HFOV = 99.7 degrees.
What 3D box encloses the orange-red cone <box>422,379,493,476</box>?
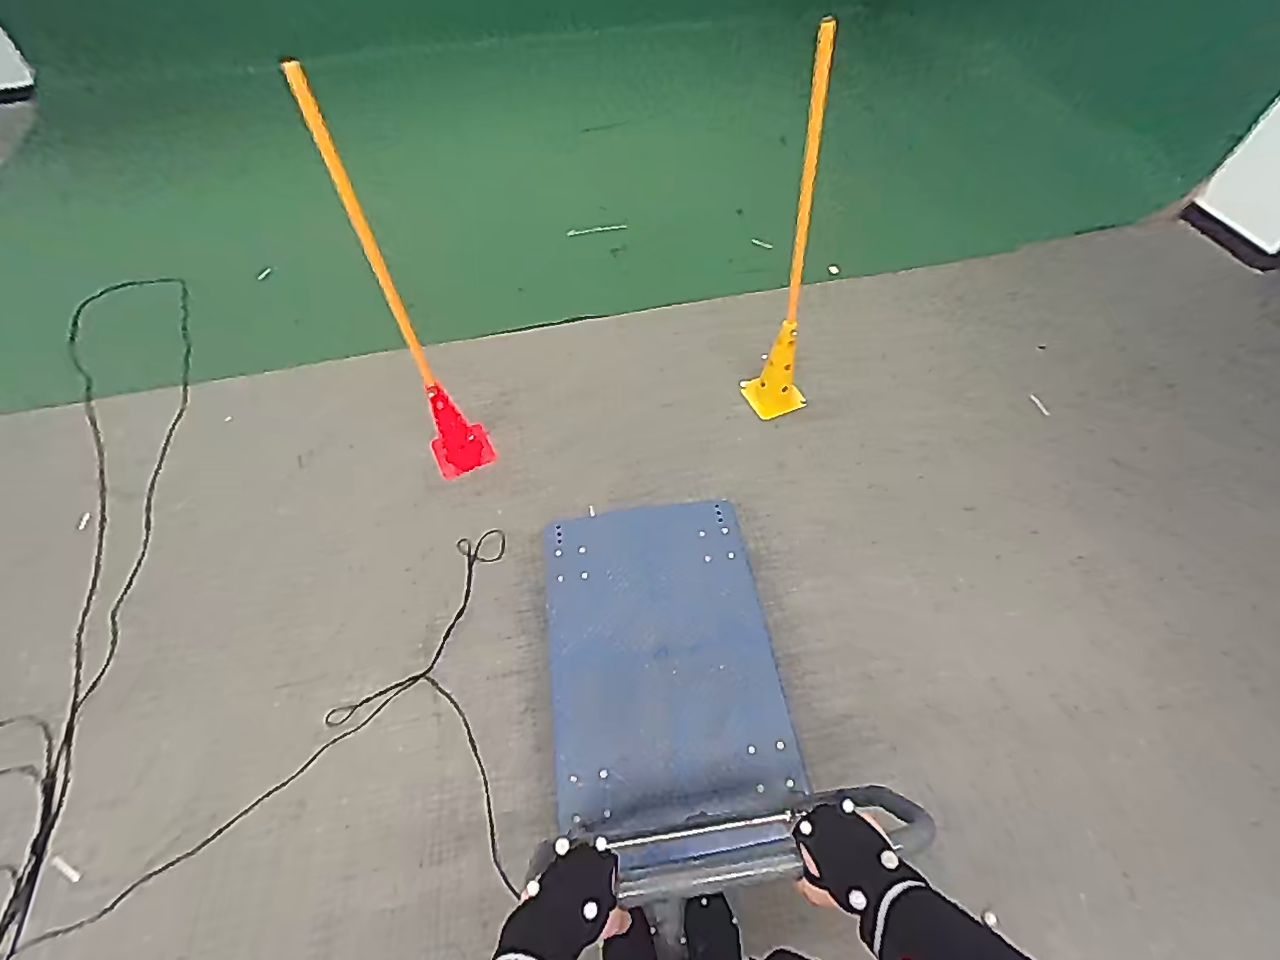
[{"bbox_3d":[-0.656,-0.204,1.825,0.199,0.360,0.198,-24,59,-12],"label":"orange-red cone"}]
